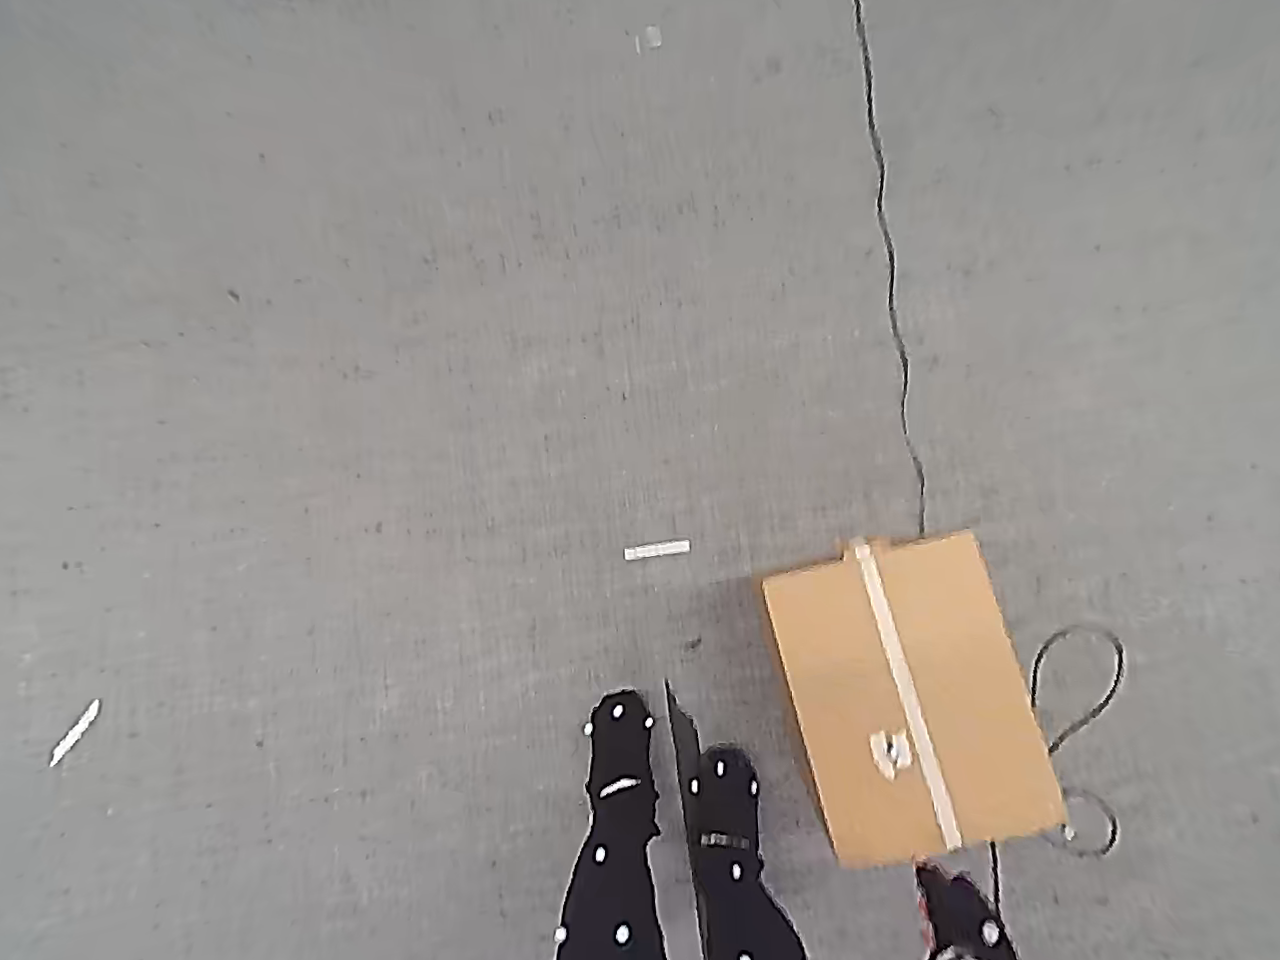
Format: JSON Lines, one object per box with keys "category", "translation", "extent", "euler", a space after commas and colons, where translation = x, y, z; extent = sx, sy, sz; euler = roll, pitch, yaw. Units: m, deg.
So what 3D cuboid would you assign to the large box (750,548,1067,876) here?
{"category": "large box", "translation": [0.404, 0.349, 0.925], "extent": [0.320, 0.320, 0.408], "euler": [-15, 81, 5]}
